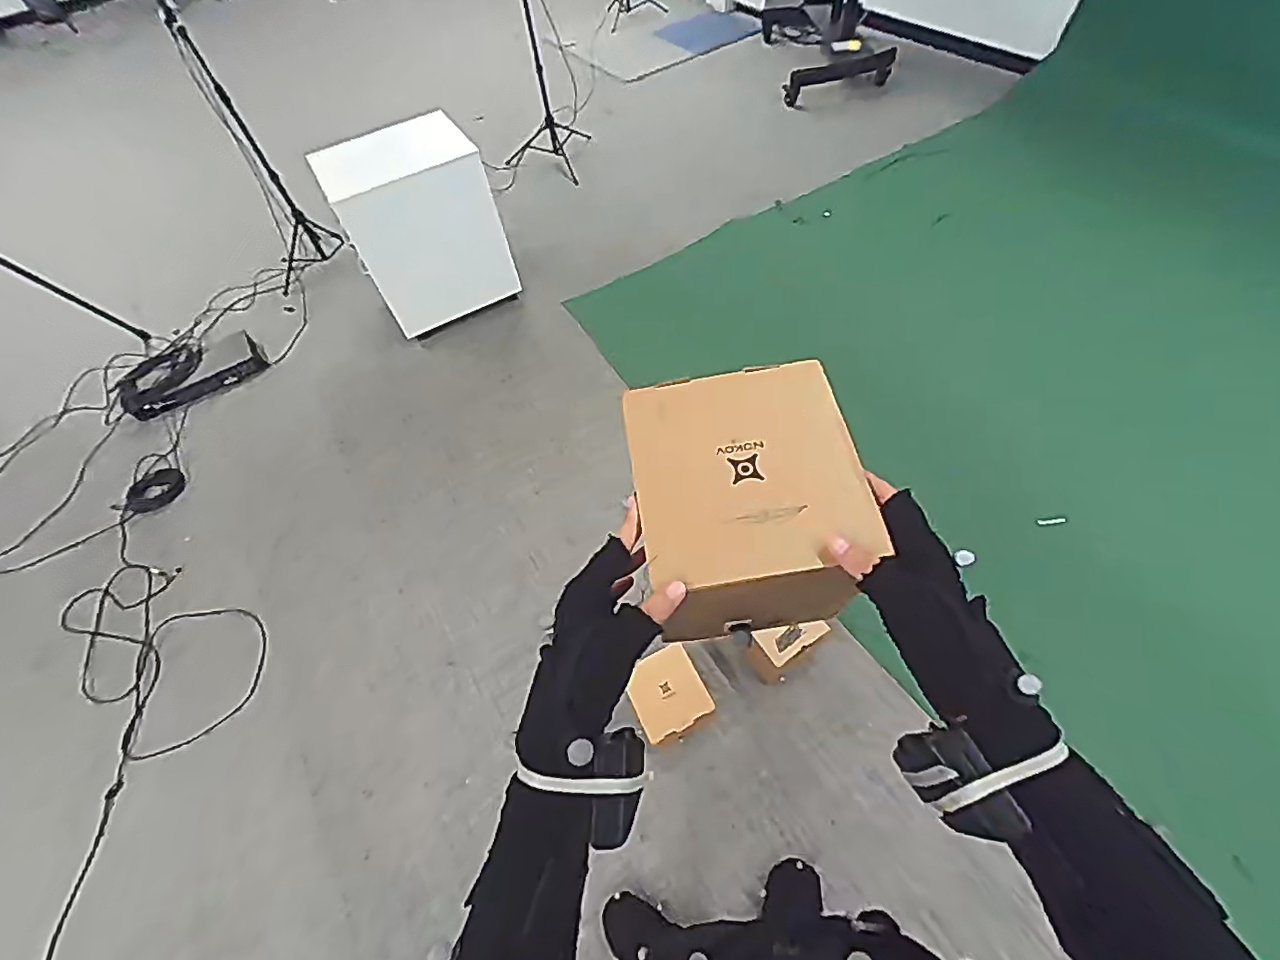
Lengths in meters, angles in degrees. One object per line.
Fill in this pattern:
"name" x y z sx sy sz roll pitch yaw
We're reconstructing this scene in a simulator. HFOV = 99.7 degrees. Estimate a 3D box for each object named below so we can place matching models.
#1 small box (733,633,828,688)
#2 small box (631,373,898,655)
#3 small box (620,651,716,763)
"small box" 0.341 0.402 1.363 0.168 0.176 0.179 -29 57 -15
"small box" 0.087 0.036 0.469 0.168 0.176 0.179 -9 60 0
"small box" 0.064 0.544 1.290 0.168 0.176 0.179 -25 57 -12
